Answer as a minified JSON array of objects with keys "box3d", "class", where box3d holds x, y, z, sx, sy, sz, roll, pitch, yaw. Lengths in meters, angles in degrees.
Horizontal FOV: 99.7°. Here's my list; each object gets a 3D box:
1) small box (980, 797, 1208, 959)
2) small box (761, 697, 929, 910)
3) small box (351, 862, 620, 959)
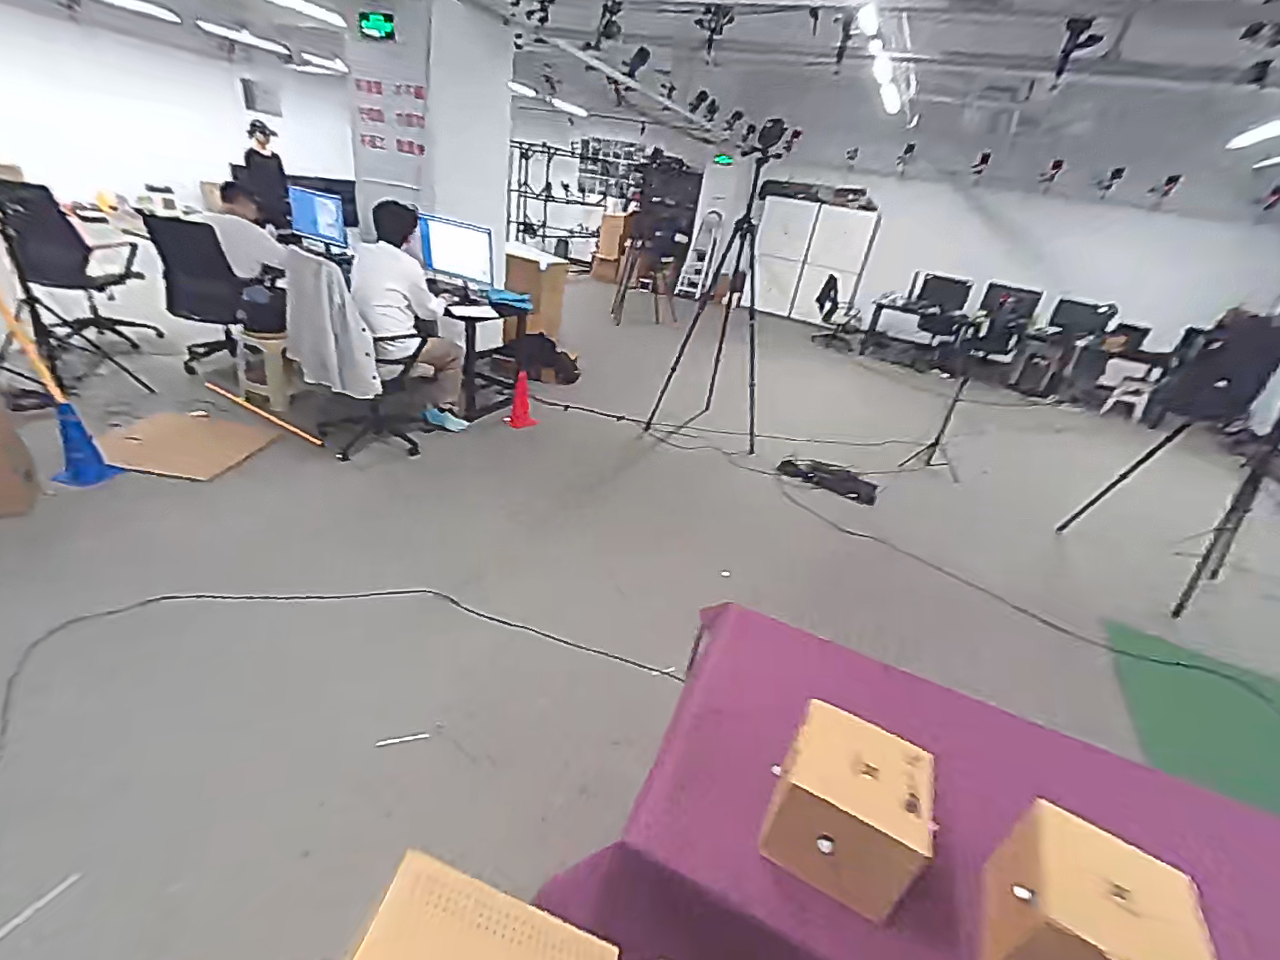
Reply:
[{"box3d":[0.554,0.562,0.681,0.168,0.176,0.179,24,31,25],"class":"small box"},{"box3d":[0.291,0.462,0.779,0.179,0.176,0.168,21,30,21],"class":"small box"},{"box3d":[-0.127,0.395,0.343,0.179,0.168,0.176,31,18,-4],"class":"small box"}]
